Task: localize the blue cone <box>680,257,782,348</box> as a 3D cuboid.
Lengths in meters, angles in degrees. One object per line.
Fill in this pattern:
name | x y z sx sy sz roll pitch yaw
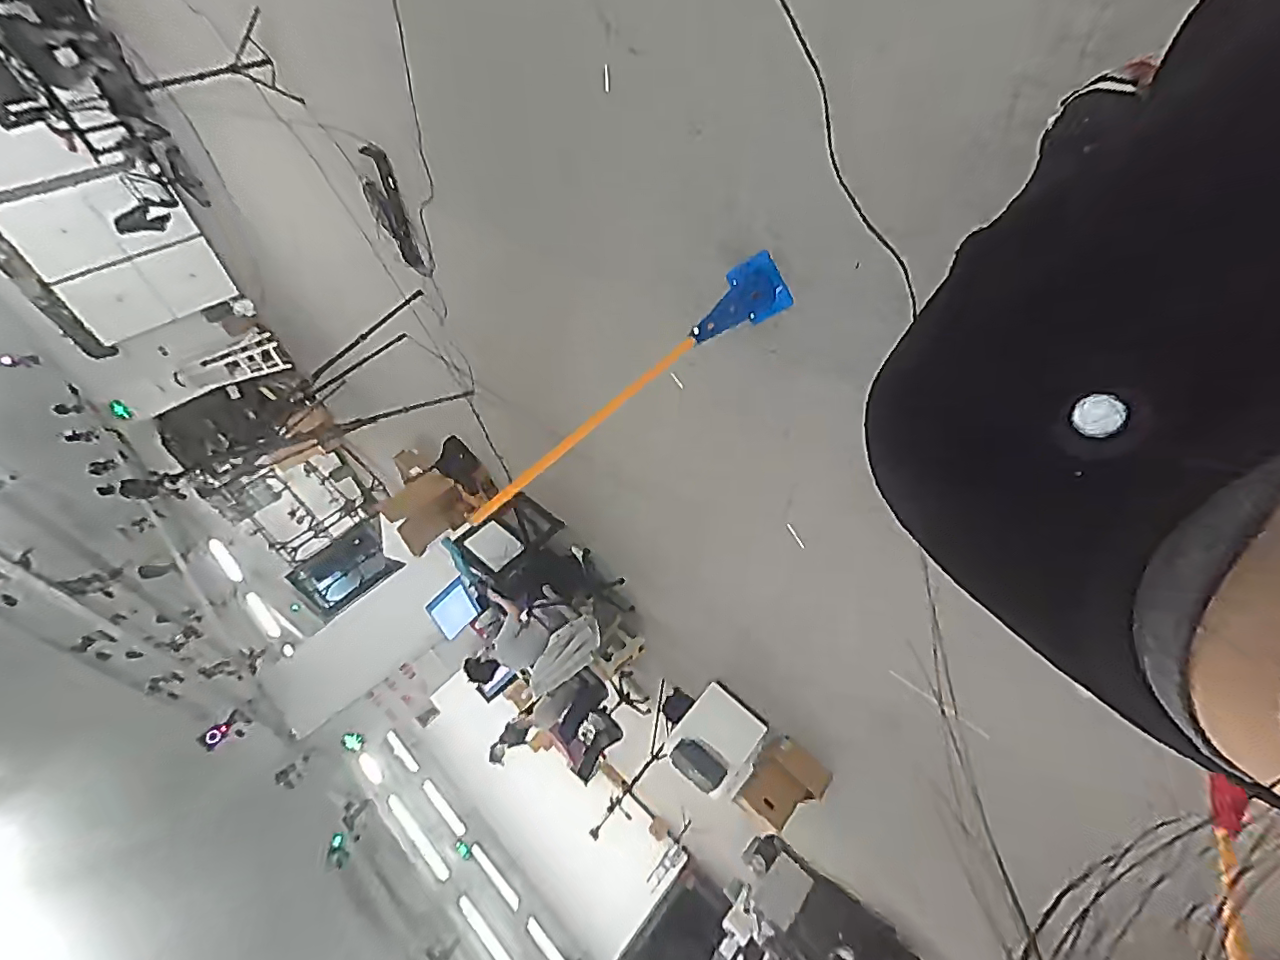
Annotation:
blue cone | 0.263 -0.521 1.722 0.192 0.380 0.193 54 154 -13
